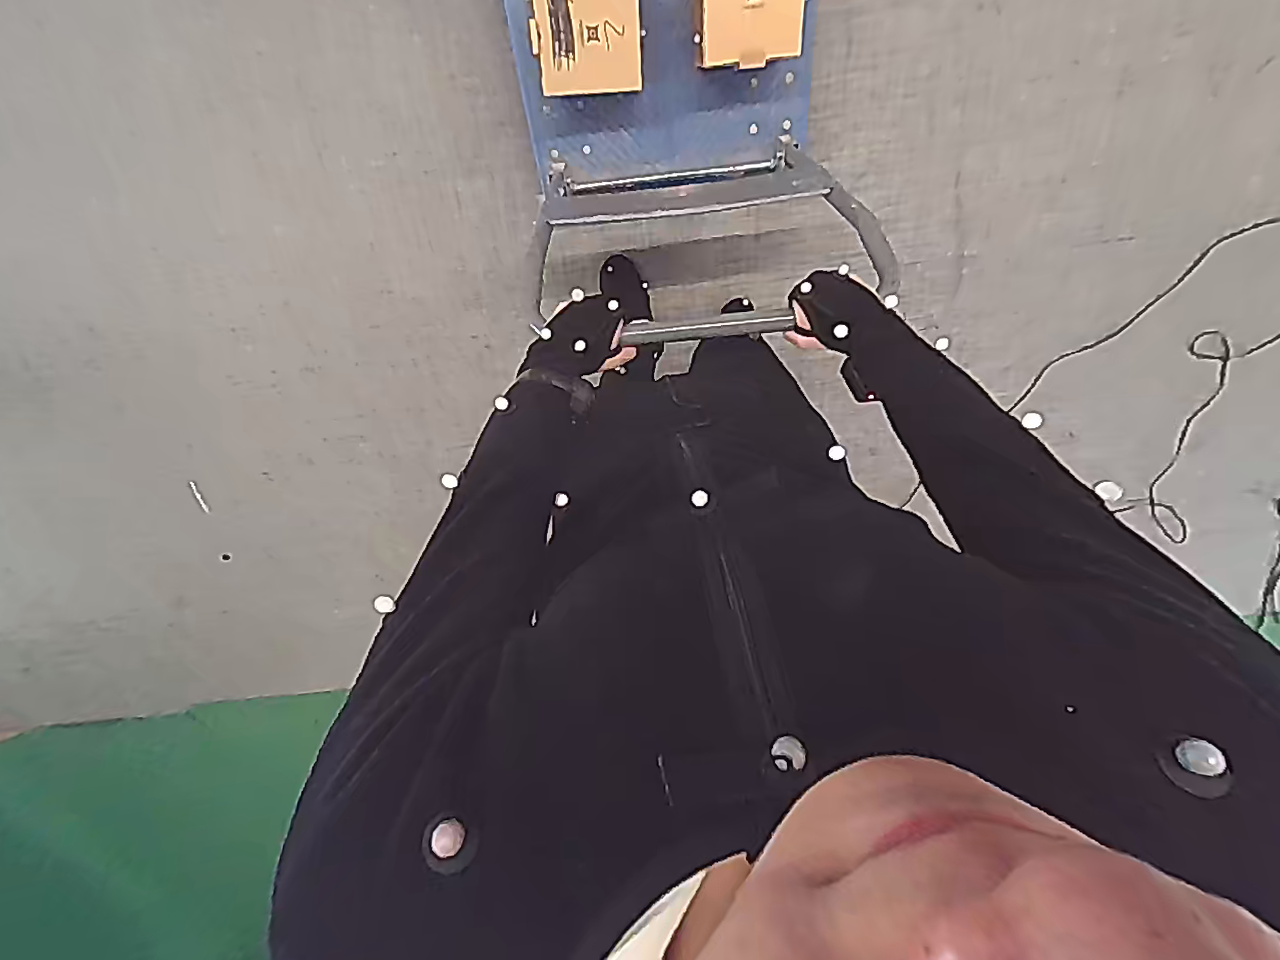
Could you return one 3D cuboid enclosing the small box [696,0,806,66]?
[{"bbox_3d":[0.186,-0.835,0.935,0.168,0.176,0.179,-5,130,3],"label":"small box"}]
